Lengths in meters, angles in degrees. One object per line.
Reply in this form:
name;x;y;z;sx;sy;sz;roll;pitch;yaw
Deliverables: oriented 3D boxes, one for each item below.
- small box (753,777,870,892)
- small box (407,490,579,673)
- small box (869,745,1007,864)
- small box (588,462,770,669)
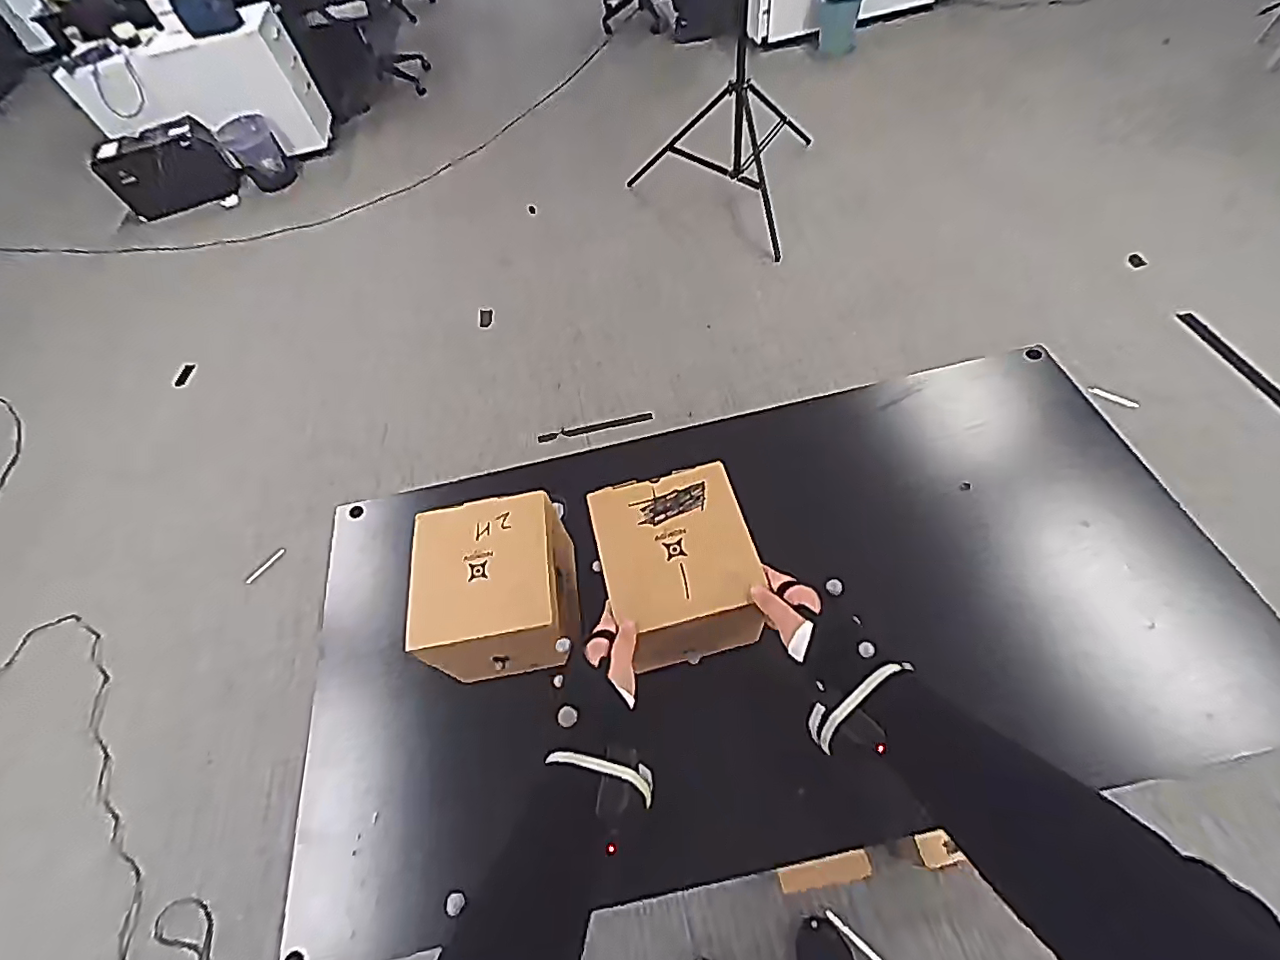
small box;0.345;0.731;1.125;0.179;0.176;0.168;-14;57;0
small box;-0.179;0.140;0.702;0.168;0.176;0.179;-10;57;0
small box;0.601;0.672;1.121;0.168;0.176;0.179;-15;57;0
small box;0.041;0.108;0.655;0.168;0.176;0.179;-14;59;-3
